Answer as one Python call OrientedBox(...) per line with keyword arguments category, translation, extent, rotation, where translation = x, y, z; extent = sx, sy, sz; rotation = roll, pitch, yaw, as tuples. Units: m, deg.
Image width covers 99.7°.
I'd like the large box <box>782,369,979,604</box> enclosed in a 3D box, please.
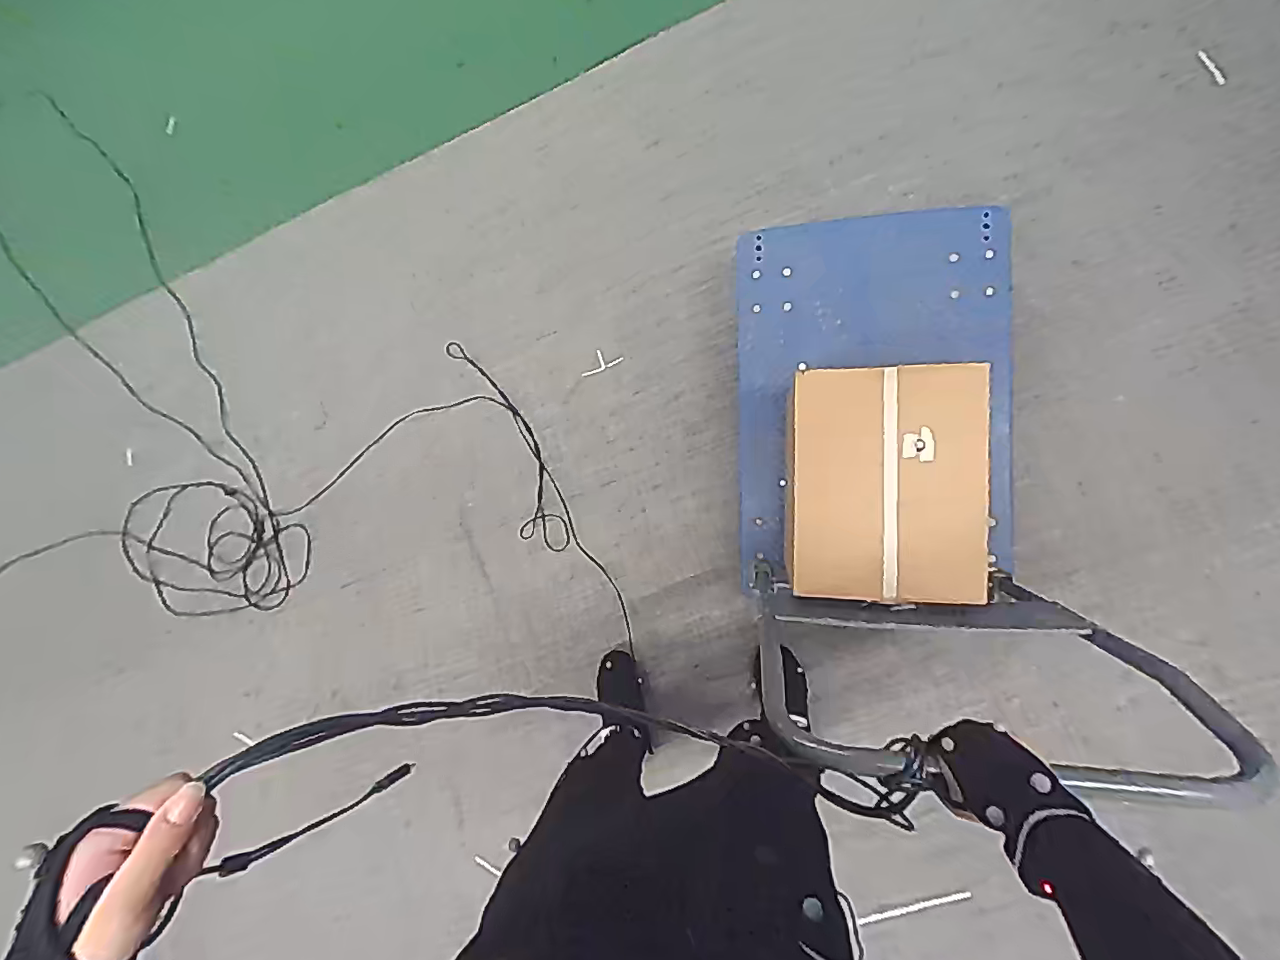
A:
OrientedBox(category="large box", translation=(0.448, 0.012, 1.081), extent=(0.320, 0.320, 0.408), rotation=(1, 90, 11))
